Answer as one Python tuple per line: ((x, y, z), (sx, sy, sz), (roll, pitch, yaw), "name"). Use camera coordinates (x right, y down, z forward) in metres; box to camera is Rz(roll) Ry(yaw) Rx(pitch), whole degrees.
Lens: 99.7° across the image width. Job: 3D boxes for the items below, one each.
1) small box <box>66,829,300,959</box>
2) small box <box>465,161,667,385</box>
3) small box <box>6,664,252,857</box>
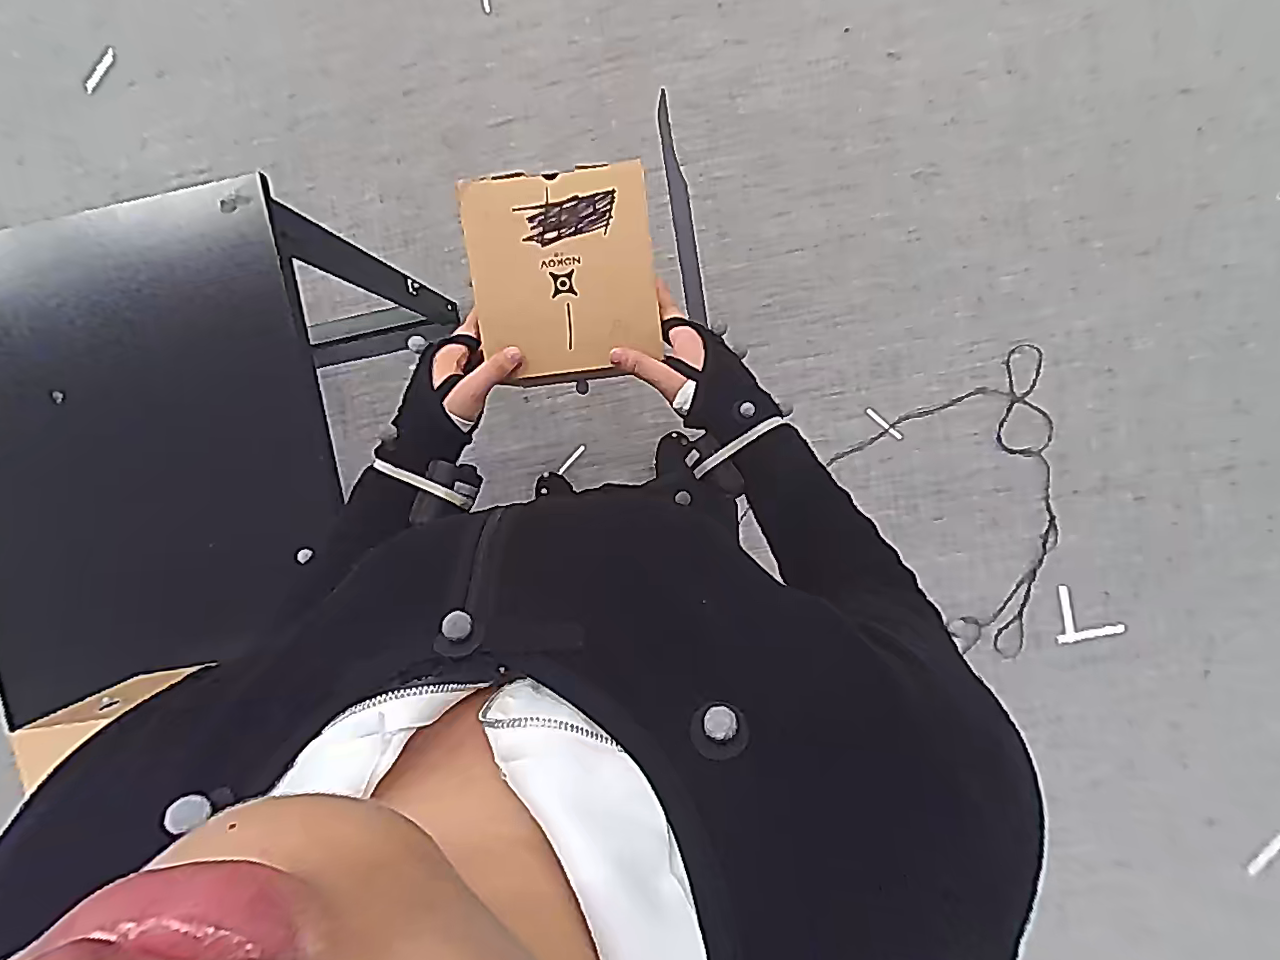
((-0.624, 0.628, 0.762), (0.168, 0.176, 0.179), (-12, 93, 4), "small box")
((-0.066, -0.196, 0.560), (0.168, 0.176, 0.179), (-6, 98, 0), "small box")
((-0.678, 0.372, 0.745), (0.179, 0.176, 0.168), (-10, 93, 5), "small box")
